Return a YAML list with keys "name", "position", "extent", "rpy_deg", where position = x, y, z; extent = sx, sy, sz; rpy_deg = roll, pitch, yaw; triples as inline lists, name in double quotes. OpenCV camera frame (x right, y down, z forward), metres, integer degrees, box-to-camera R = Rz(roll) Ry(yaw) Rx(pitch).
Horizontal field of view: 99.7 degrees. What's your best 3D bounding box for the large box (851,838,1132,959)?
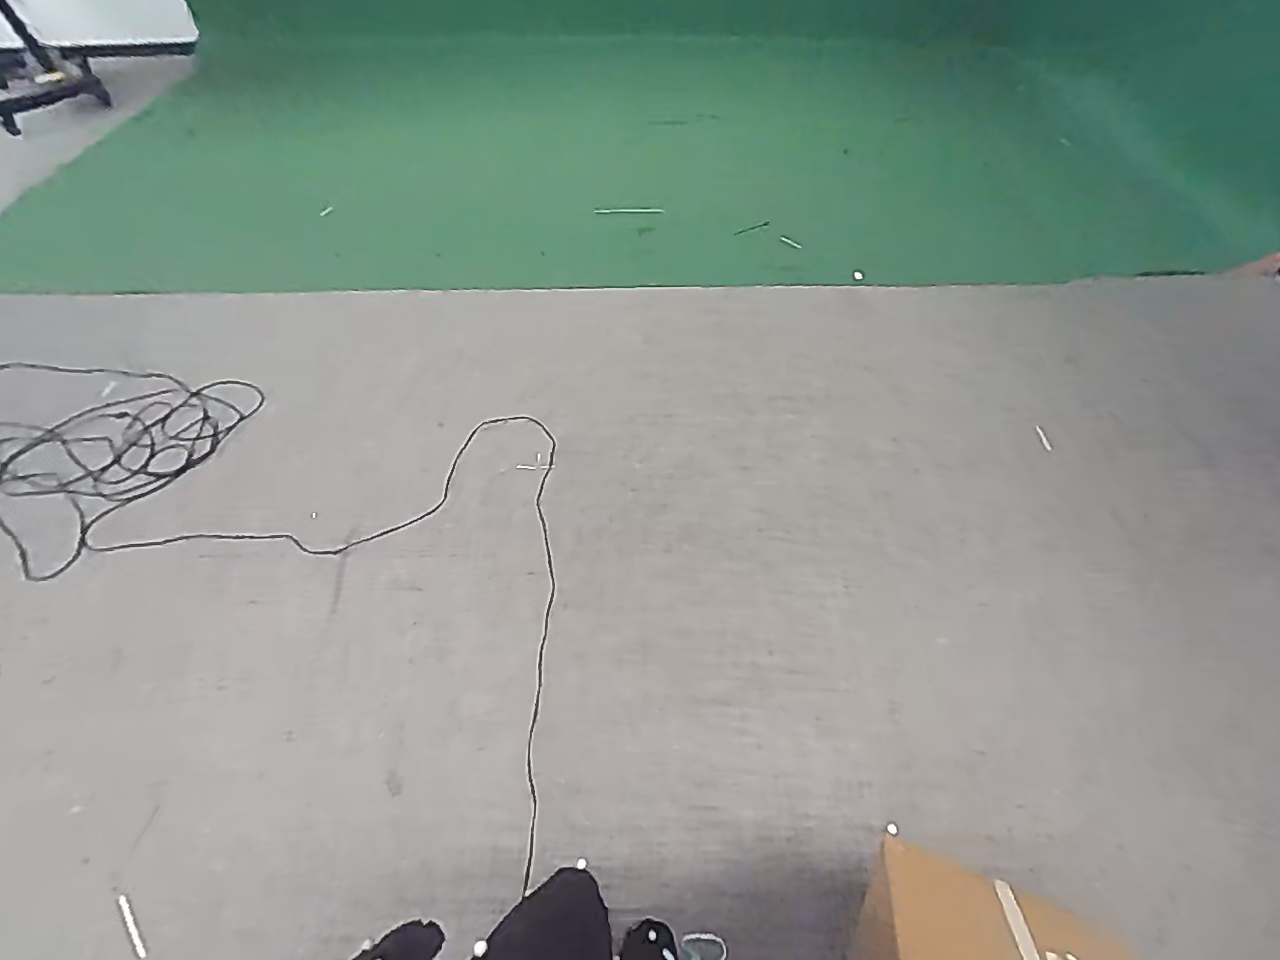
- name: "large box"
  position: [0.415, 0.734, 0.612]
  extent: [0.320, 0.408, 0.320]
  rpy_deg: [16, 95, 19]
